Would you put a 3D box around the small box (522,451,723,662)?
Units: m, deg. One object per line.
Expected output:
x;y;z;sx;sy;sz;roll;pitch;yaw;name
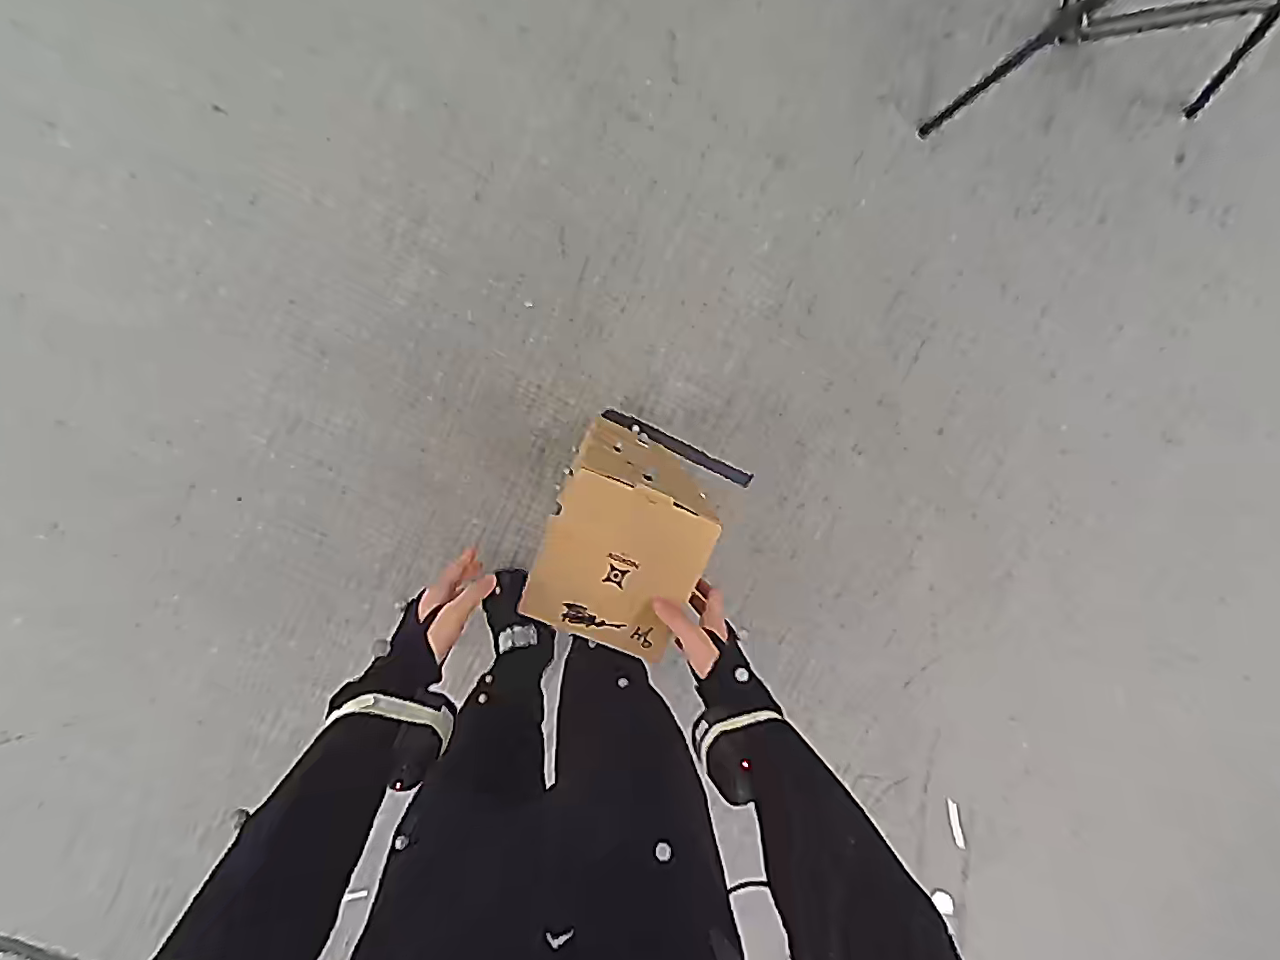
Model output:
-0.025;0.078;0.650;0.168;0.176;0.179;23;98;-7;small box

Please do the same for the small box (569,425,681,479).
-0.041;0.015;0.970;0.168;0.176;0.179;24;97;-8;small box

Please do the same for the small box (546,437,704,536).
-0.028;0.044;0.811;0.179;0.176;0.168;23;99;-8;small box

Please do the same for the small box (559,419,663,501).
-0.054;-0.014;1.129;0.168;0.176;0.179;24;97;-7;small box
